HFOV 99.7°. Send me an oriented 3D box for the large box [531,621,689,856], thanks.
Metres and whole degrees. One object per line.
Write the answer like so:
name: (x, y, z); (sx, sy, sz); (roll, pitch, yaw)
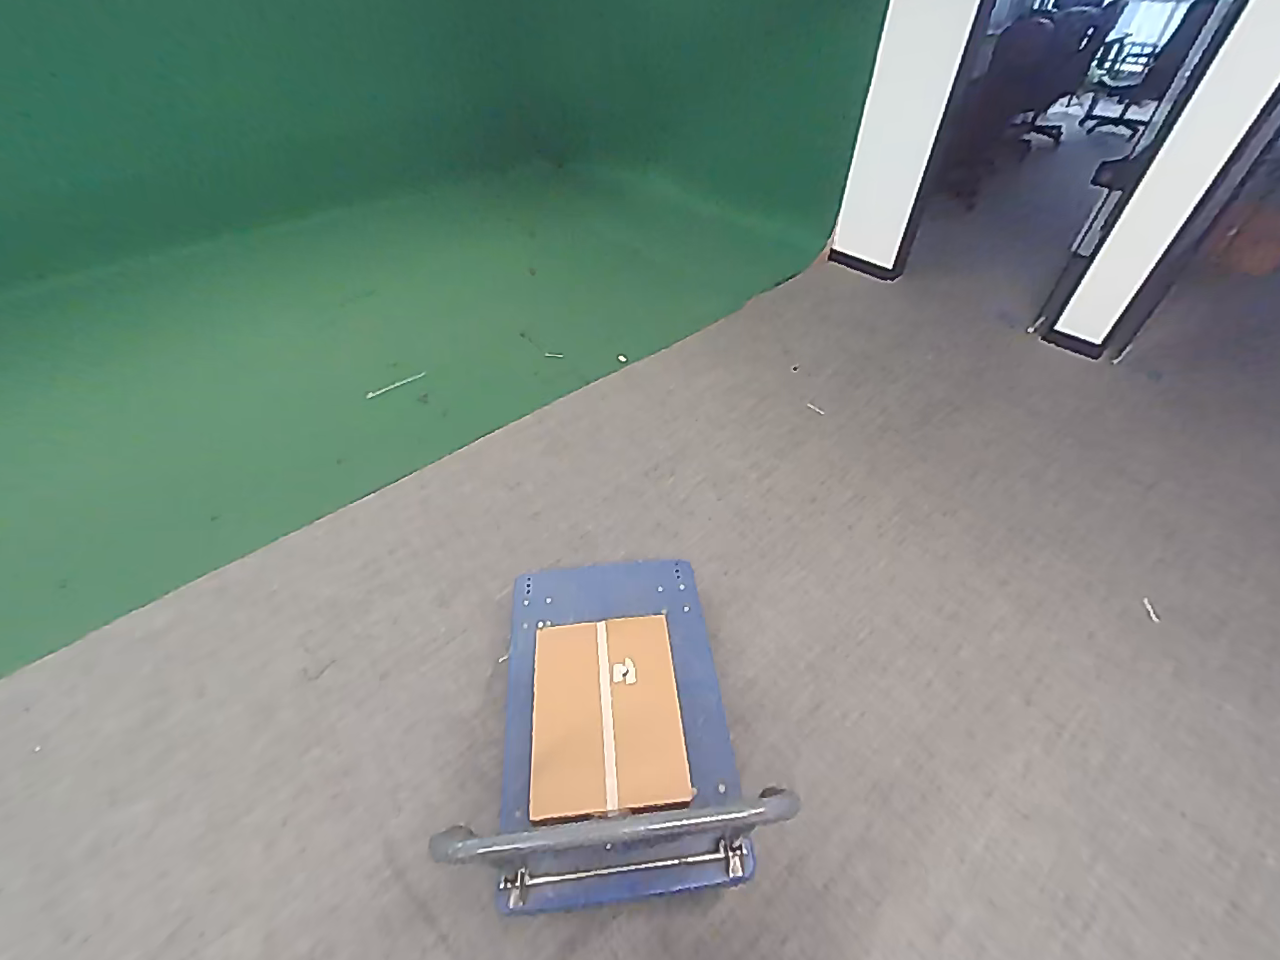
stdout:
large box: (-0.072, 0.604, 1.278); (0.320, 0.320, 0.408); (-5, 45, -3)
